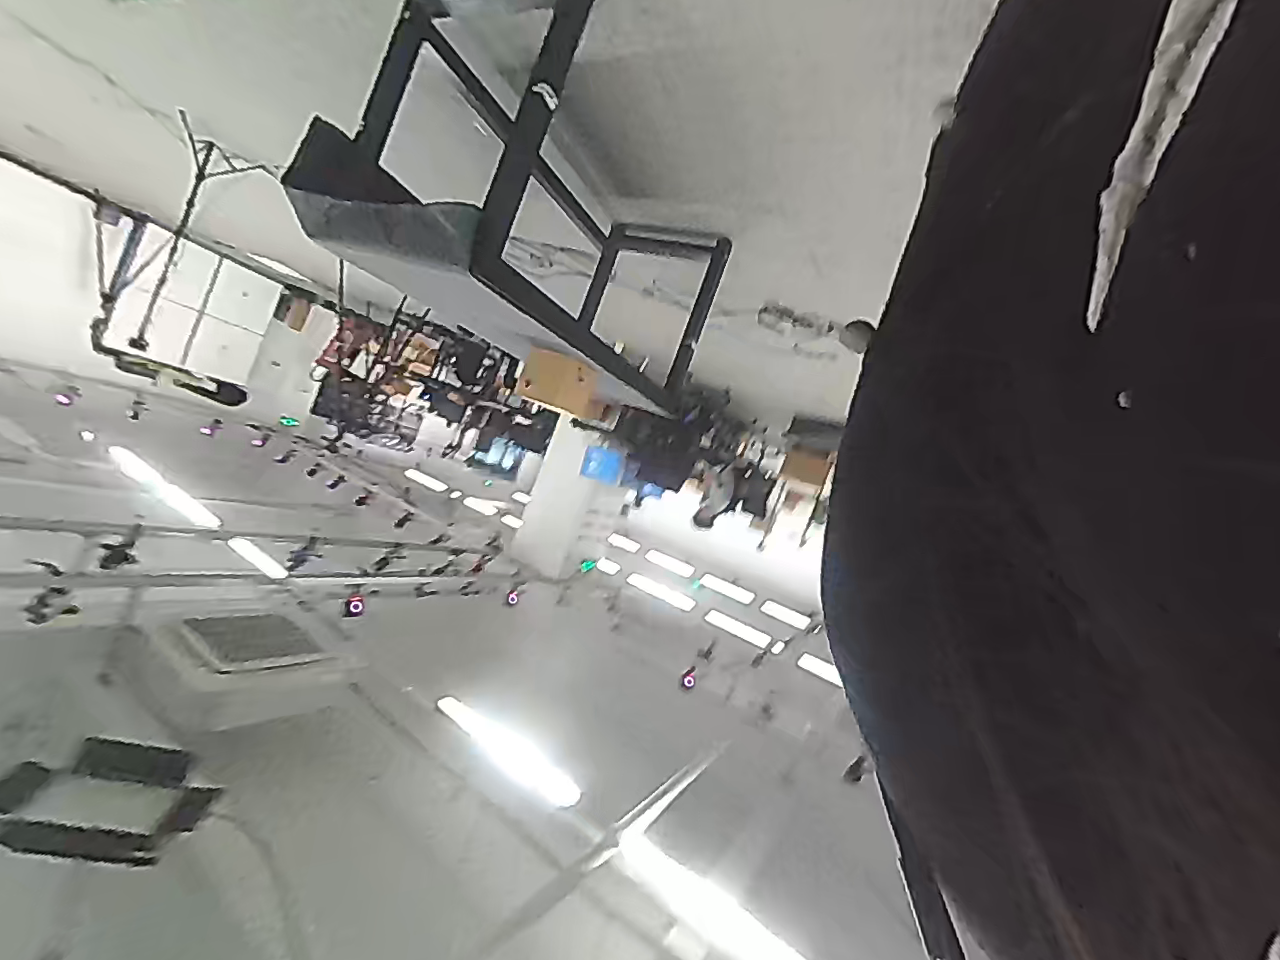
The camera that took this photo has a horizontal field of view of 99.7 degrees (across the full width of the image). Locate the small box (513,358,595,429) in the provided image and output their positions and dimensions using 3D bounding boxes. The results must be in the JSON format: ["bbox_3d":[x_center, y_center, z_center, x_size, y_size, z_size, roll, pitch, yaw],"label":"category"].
[{"bbox_3d":[-0.279,-0.289,1.789,0.179,0.176,0.168,21,180,28],"label":"small box"}]
